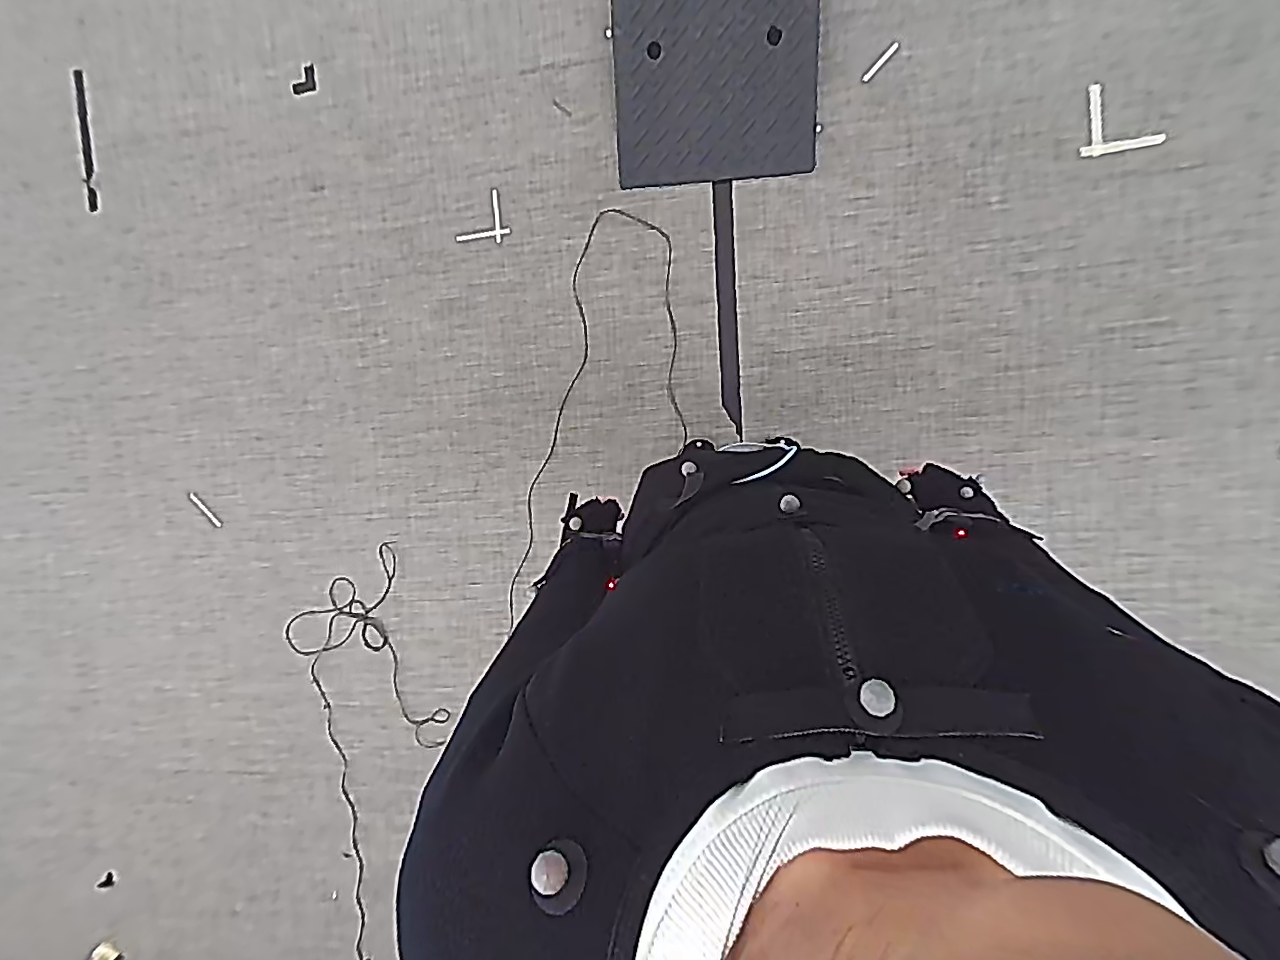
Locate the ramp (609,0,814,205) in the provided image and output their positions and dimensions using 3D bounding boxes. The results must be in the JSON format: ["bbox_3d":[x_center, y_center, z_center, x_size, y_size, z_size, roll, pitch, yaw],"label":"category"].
[{"bbox_3d":[0.163,-1.223,1.286,0.509,0.206,0.991,-4,94,8],"label":"ramp"}]
